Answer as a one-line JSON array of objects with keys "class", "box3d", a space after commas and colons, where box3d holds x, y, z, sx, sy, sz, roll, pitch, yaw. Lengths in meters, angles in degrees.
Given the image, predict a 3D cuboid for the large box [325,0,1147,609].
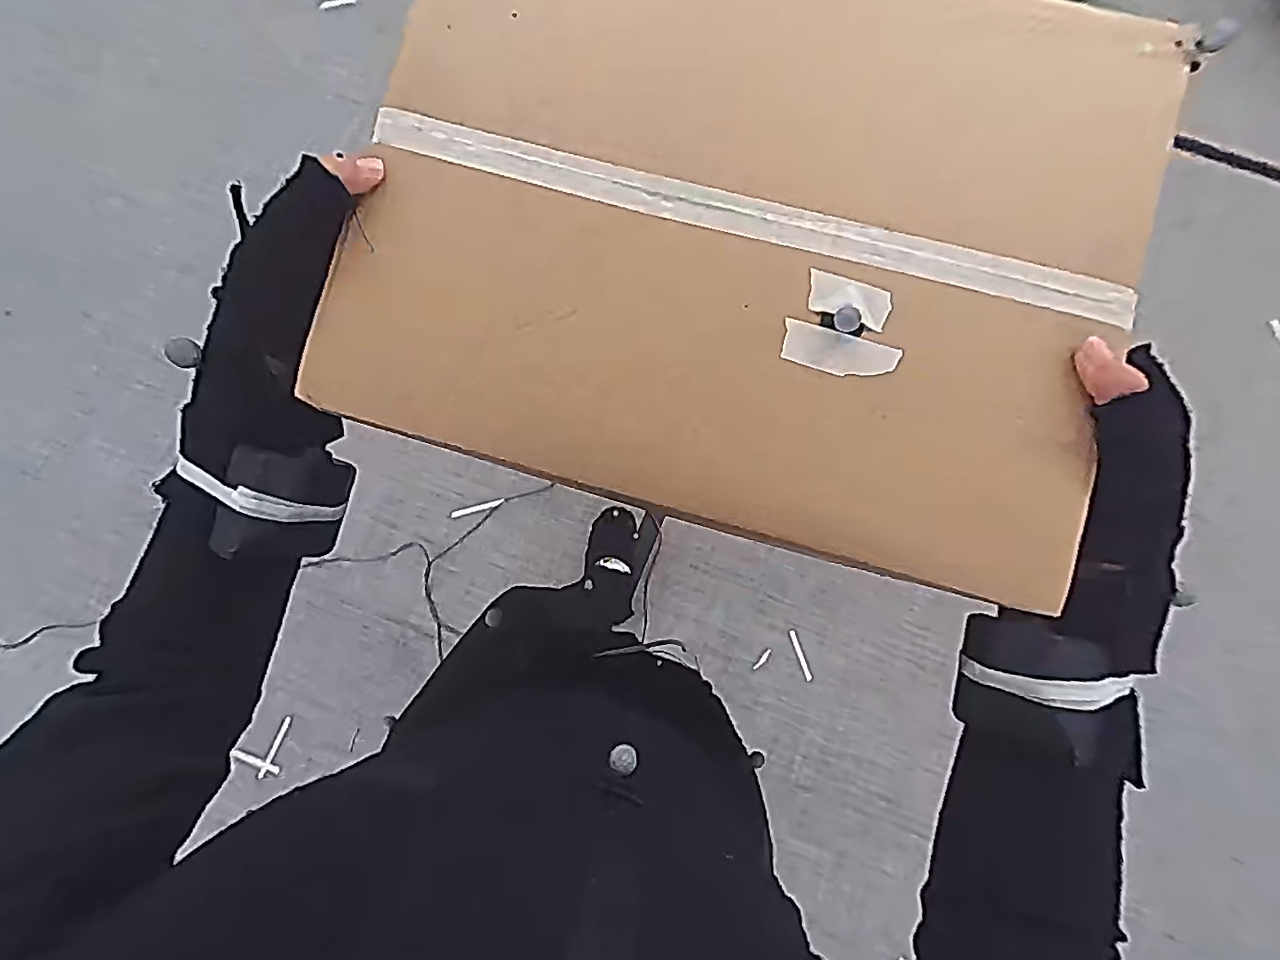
[{"class": "large box", "box3d": [0.056, -0.116, 0.448, 0.408, 0.320, 0.320, 16, 88, 3]}]
